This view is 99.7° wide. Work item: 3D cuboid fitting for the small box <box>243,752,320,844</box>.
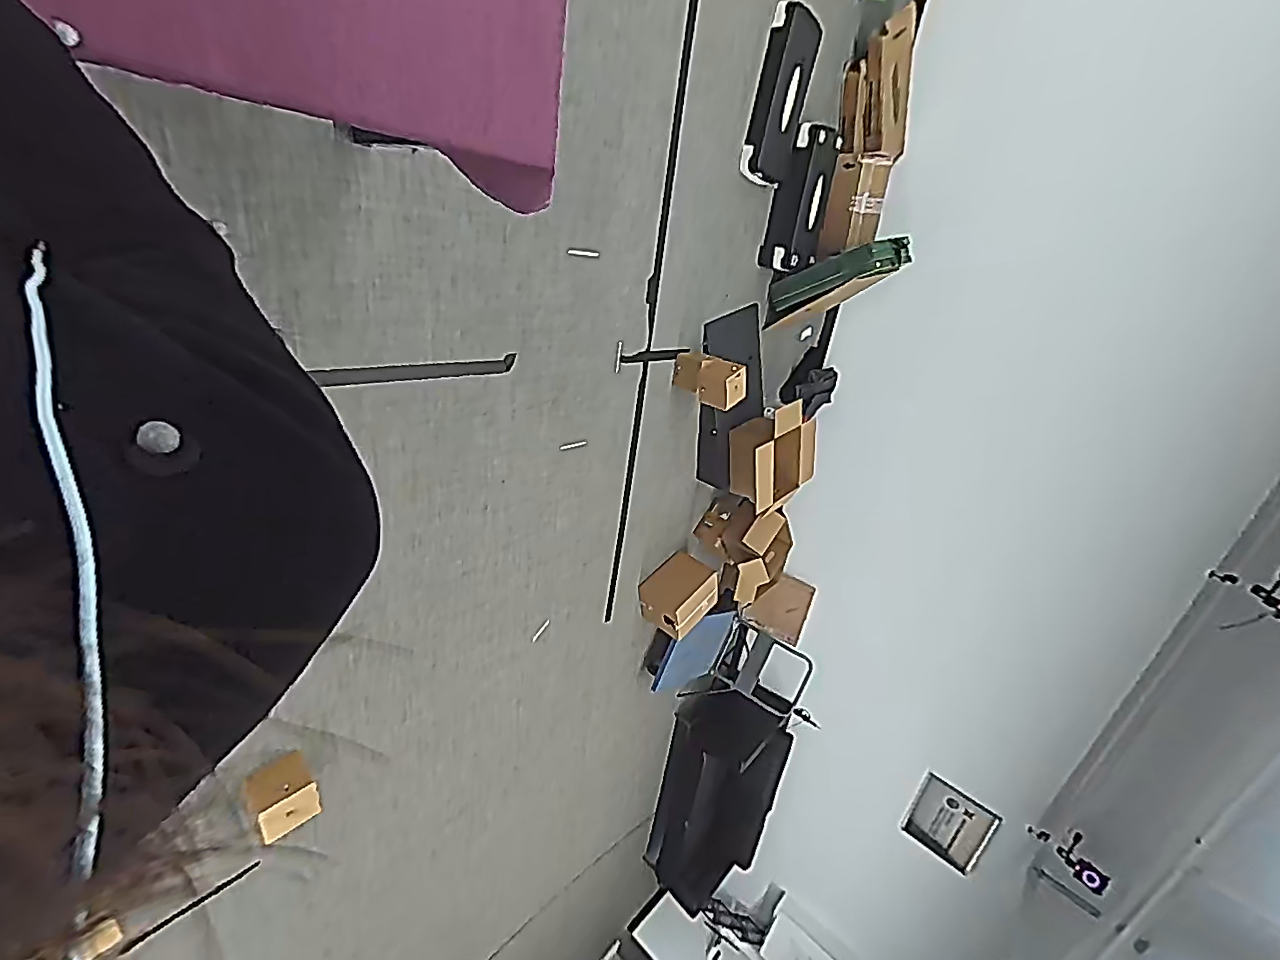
[{"bbox_3d":[-1.250,1.098,1.881,0.179,0.176,0.168,-22,128,-46],"label":"small box"}]
